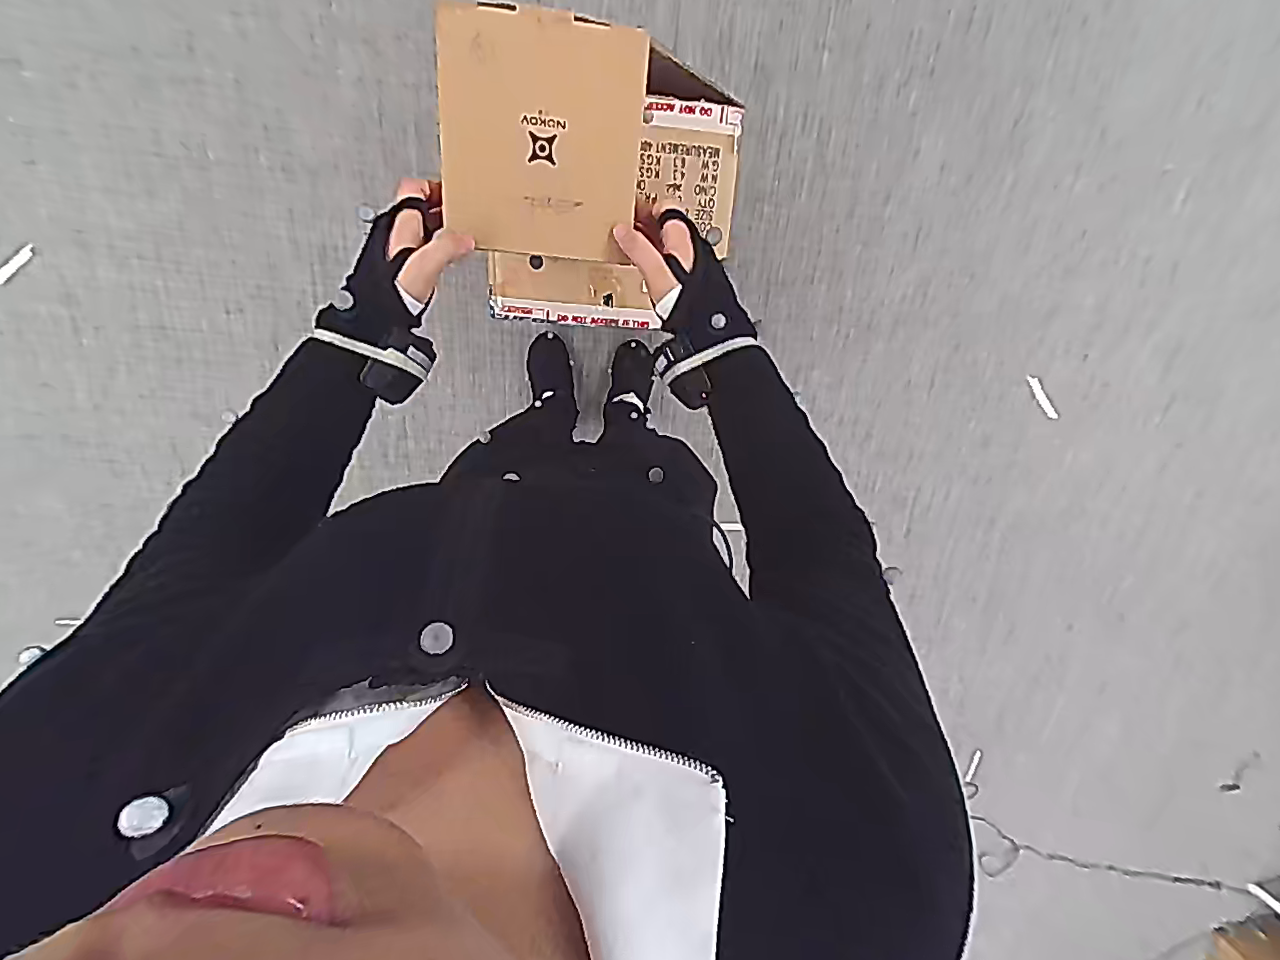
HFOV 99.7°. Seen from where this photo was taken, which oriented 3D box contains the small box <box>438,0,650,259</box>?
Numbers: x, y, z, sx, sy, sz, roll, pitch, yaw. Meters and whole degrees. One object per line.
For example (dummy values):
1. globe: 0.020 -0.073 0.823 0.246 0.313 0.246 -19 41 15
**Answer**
1. small box: -0.089 -0.316 0.521 0.168 0.176 0.179 3 114 -7
